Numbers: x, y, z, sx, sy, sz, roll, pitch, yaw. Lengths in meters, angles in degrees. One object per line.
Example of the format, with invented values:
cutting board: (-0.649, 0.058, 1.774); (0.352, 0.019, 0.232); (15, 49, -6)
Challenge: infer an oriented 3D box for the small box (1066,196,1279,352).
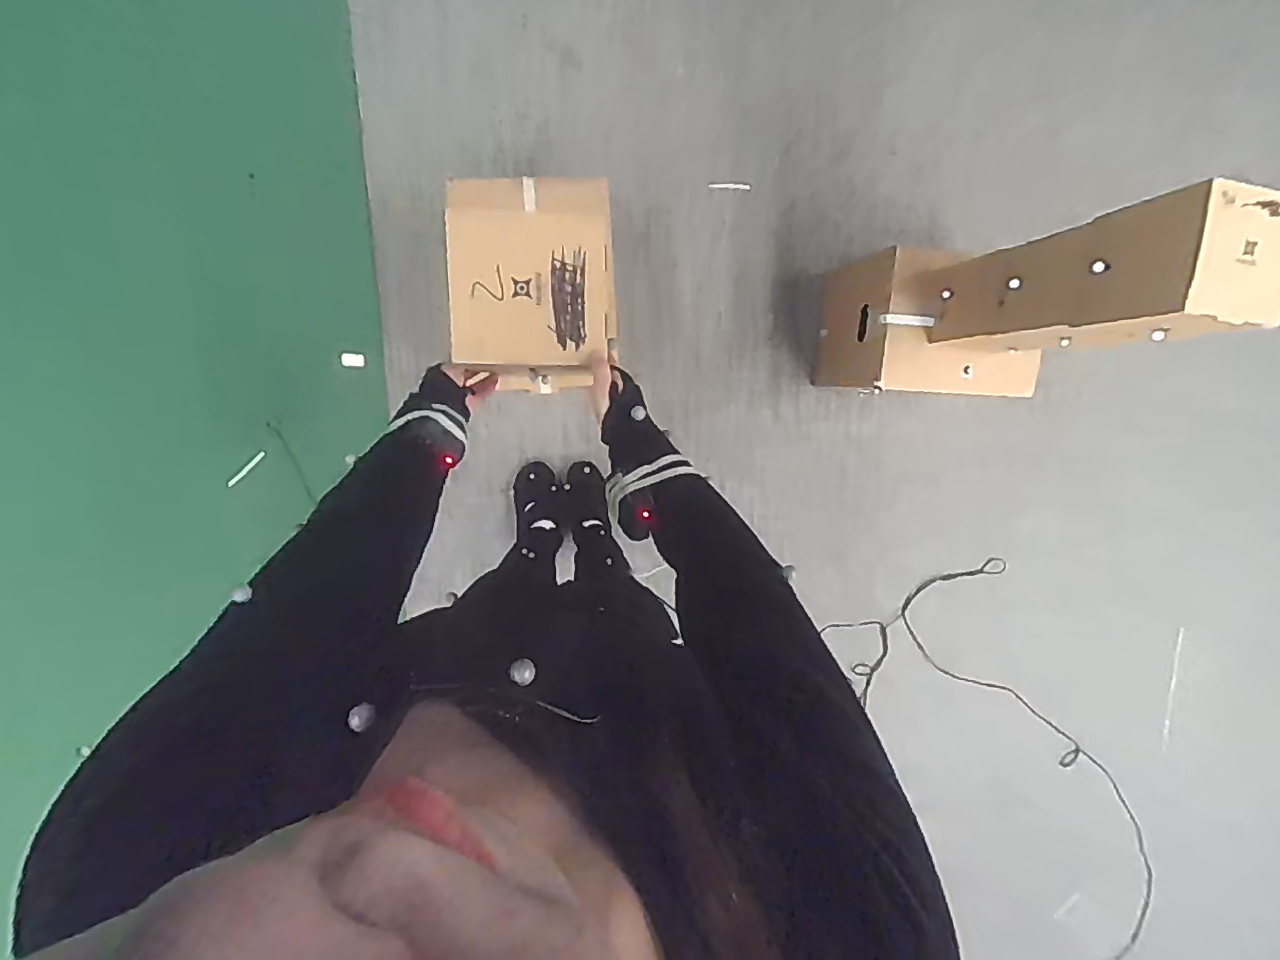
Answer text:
small box: (0.798, -0.295, 0.818); (0.168, 0.176, 0.179); (6, 97, -10)

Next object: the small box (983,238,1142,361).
small box: (0.774, -0.315, 0.980); (0.179, 0.176, 0.168); (8, 96, -9)

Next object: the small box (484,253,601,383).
small box: (-0.148, -0.242, 0.848); (0.168, 0.176, 0.179); (-2, 99, -9)

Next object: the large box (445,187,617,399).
large box: (-0.231, -0.395, 1.227); (0.320, 0.320, 0.408); (-4, 99, -8)

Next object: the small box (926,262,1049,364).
small box: (0.747, -0.342, 1.139); (0.179, 0.176, 0.168); (6, 97, -10)
